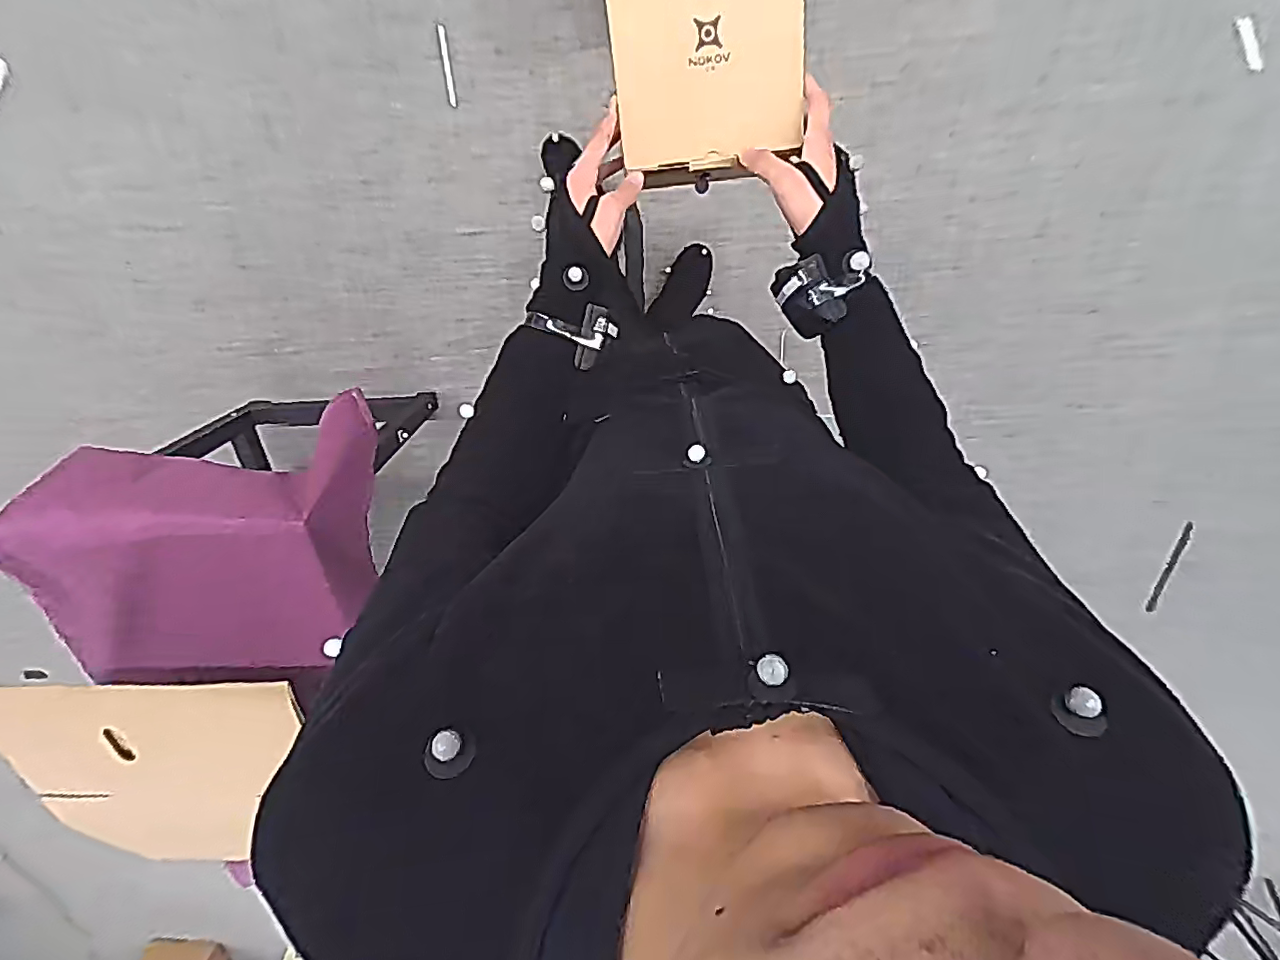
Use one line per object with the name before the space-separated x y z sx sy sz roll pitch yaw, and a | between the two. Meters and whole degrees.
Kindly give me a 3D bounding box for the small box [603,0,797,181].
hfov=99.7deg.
small box | 0.053 -0.408 0.541 0.168 0.176 0.179 -6 113 2
